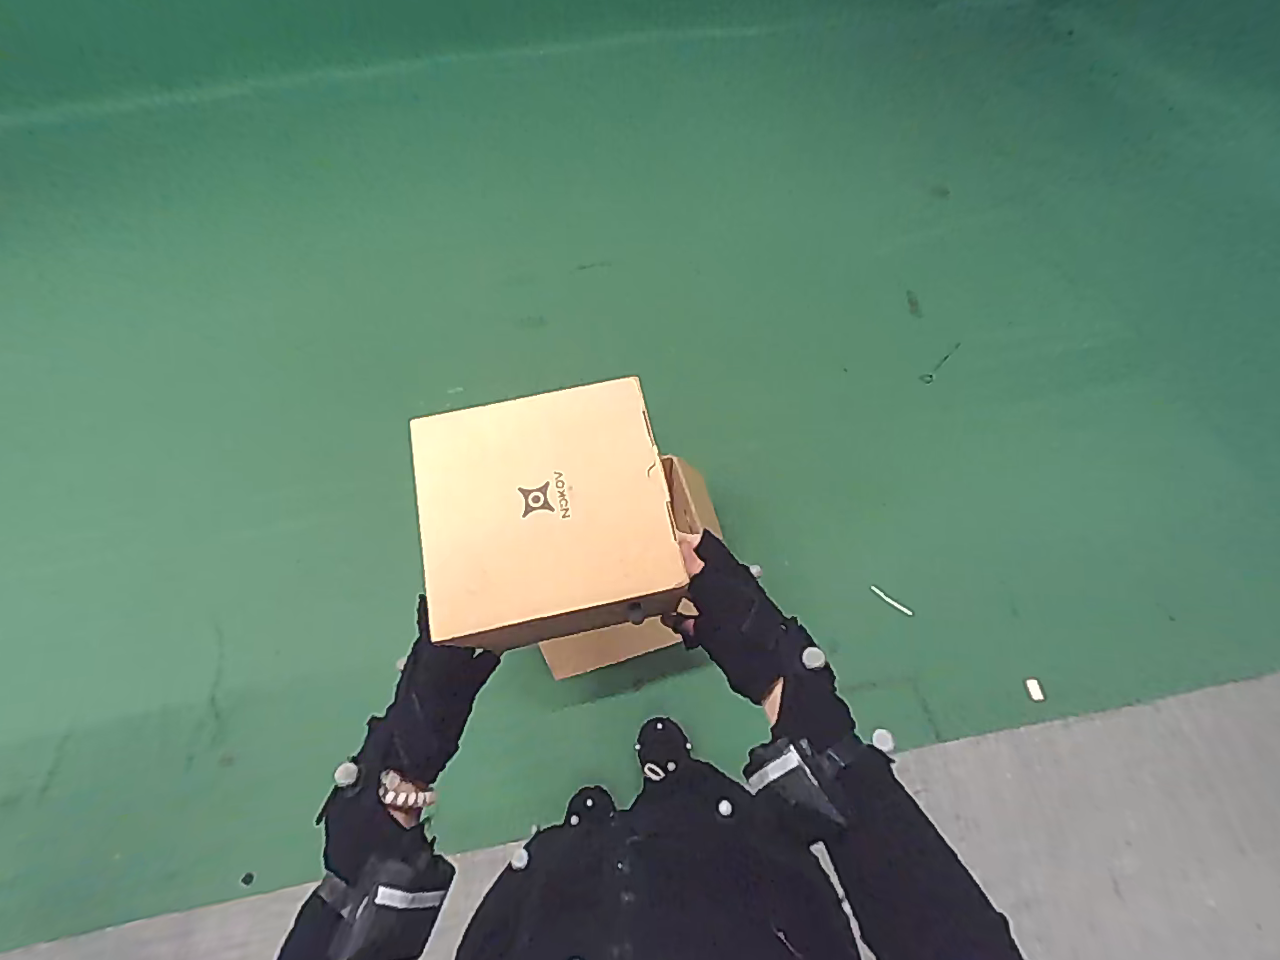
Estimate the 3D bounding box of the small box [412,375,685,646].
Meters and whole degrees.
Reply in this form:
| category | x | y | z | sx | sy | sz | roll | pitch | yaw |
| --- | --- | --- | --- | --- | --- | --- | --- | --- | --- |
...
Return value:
| category | x | y | z | sx | sy | sz | roll | pitch | yaw |
| --- | --- | --- | --- | --- | --- | --- | --- | --- | --- |
| small box | -0.068 | 0.038 | 0.458 | 0.179 | 0.176 | 0.168 | -12 | 71 | -4 |
